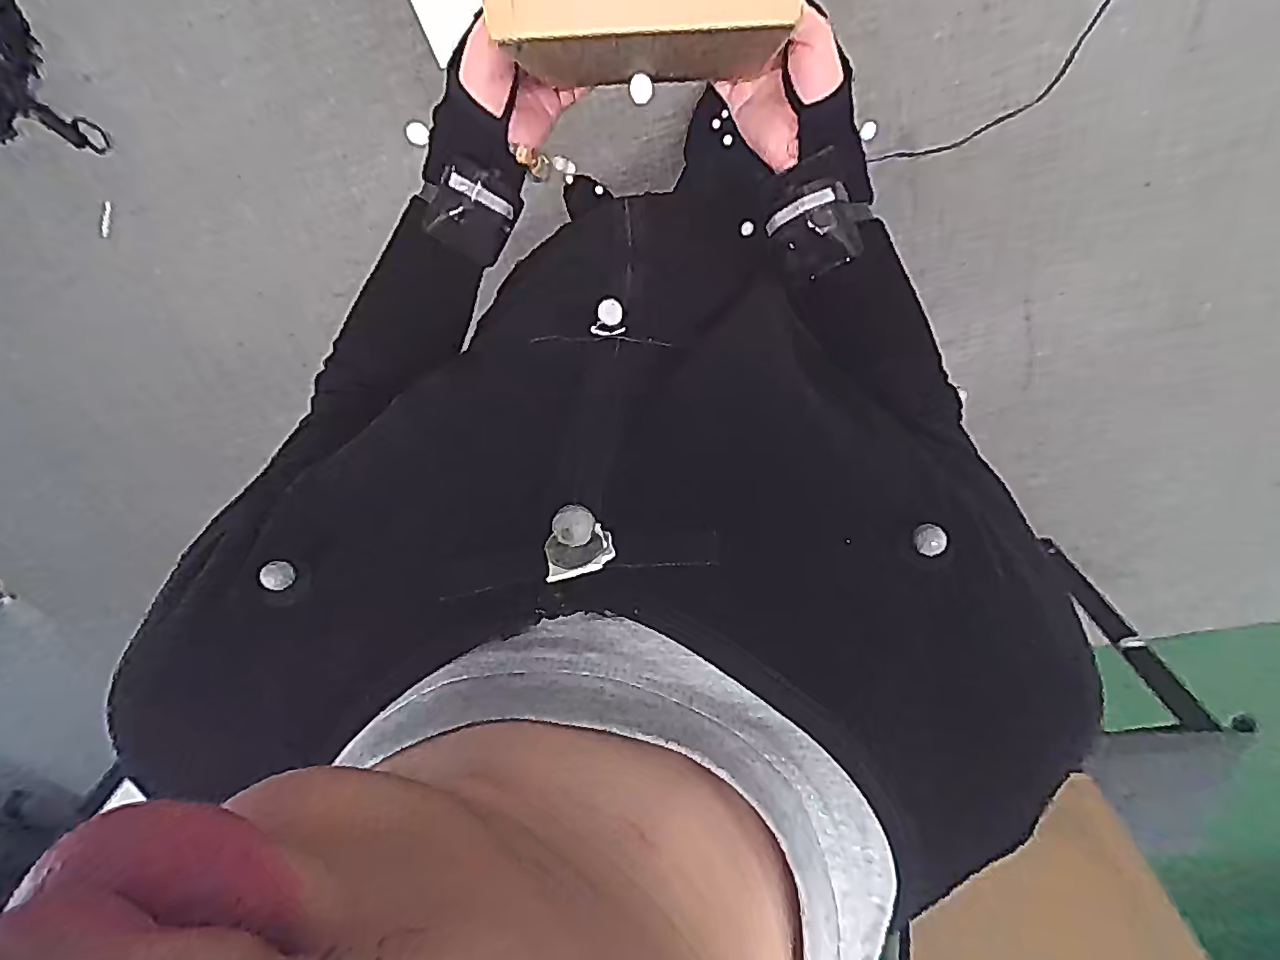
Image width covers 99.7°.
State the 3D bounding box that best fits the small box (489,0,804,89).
[{"bbox_3d":[0.006,-0.351,0.315,0.168,0.176,0.179,1,118,4],"label":"small box"}]
